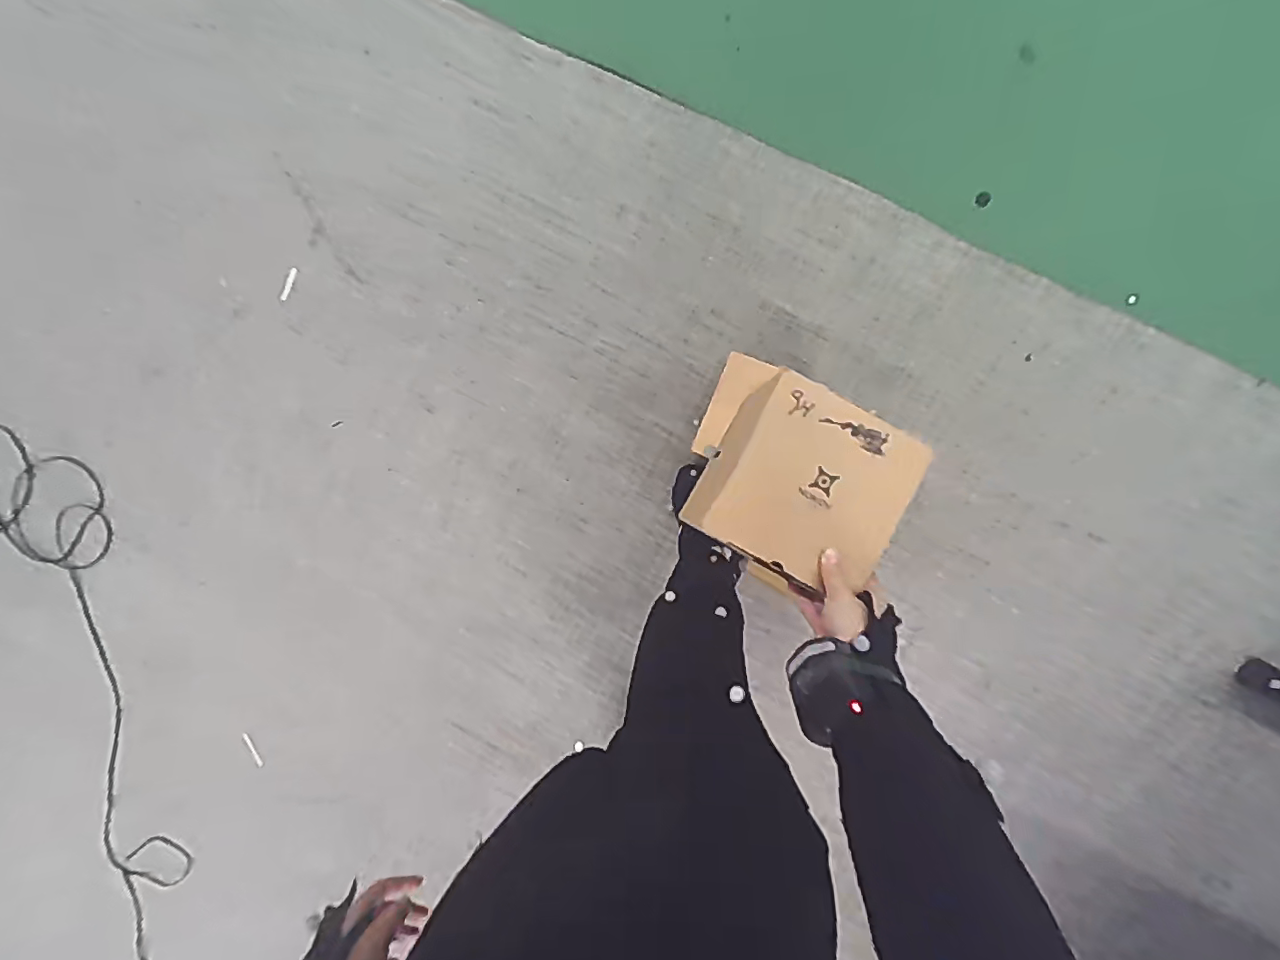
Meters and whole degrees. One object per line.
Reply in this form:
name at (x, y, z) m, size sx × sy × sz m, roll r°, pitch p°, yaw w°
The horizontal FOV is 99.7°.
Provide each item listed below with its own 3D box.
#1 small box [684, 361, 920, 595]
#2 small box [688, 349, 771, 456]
small box at (0.159, 0.000, 0.599) m, size 0.168 × 0.176 × 0.179 m, roll 29°, pitch 88°, yaw -1°
small box at (0.194, -0.112, 0.946) m, size 0.168 × 0.176 × 0.179 m, roll 21°, pitch 100°, yaw 4°
